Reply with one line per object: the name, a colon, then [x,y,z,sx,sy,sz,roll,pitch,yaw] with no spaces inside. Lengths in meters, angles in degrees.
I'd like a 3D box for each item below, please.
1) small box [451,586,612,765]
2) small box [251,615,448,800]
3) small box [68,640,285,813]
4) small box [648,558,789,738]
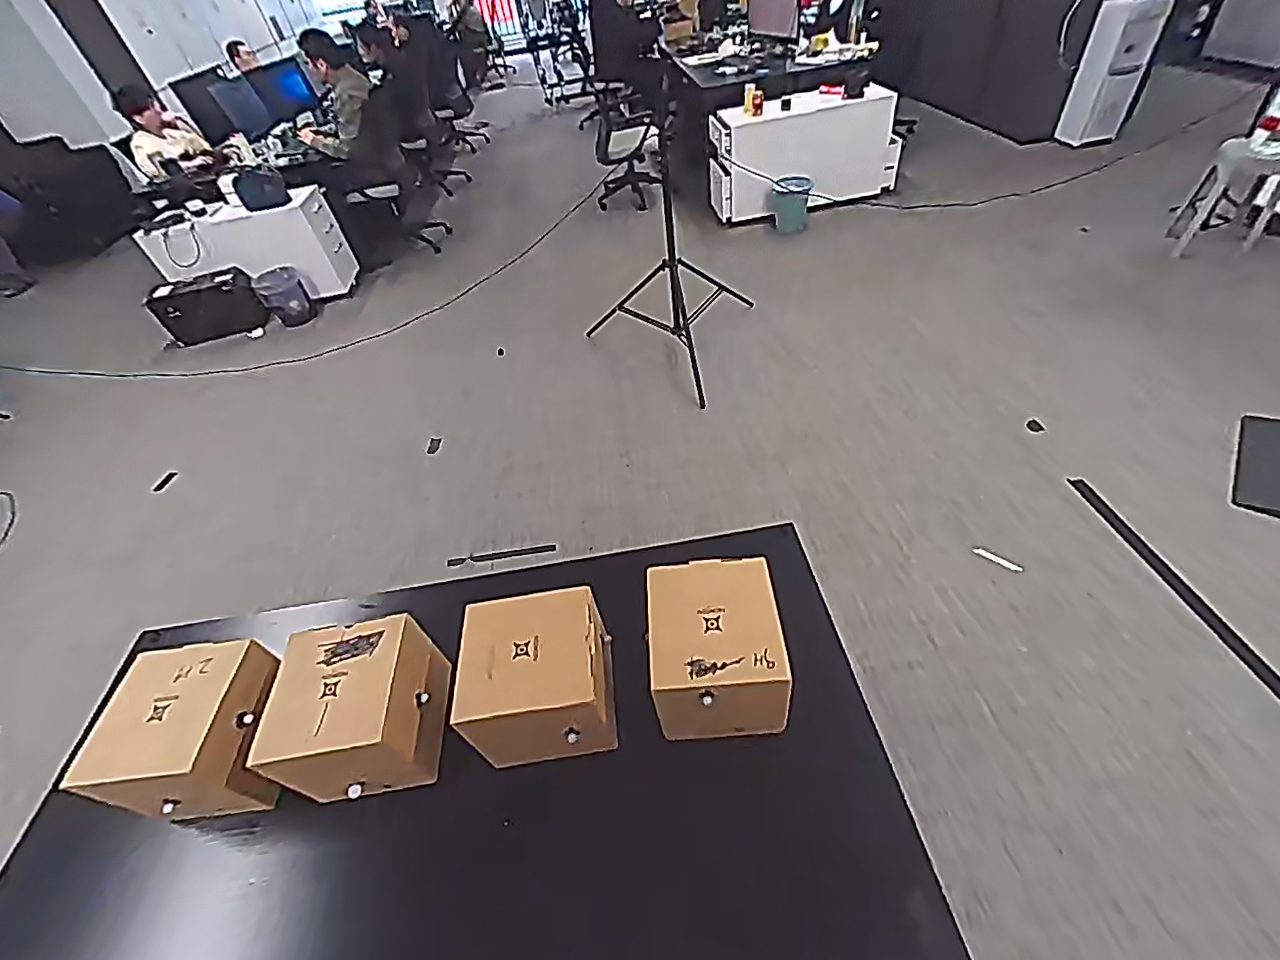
small box: [-0.136,0.274,0.751,0.179,0.176,0.168,-10,44,1]
small box: [-0.381,0.316,0.751,0.168,0.176,0.179,-10,47,0]
small box: [-0.603,0.350,0.759,0.168,0.176,0.179,-7,45,2]
small box: [0.101,0.231,0.744,0.168,0.176,0.179,-6,45,5]
